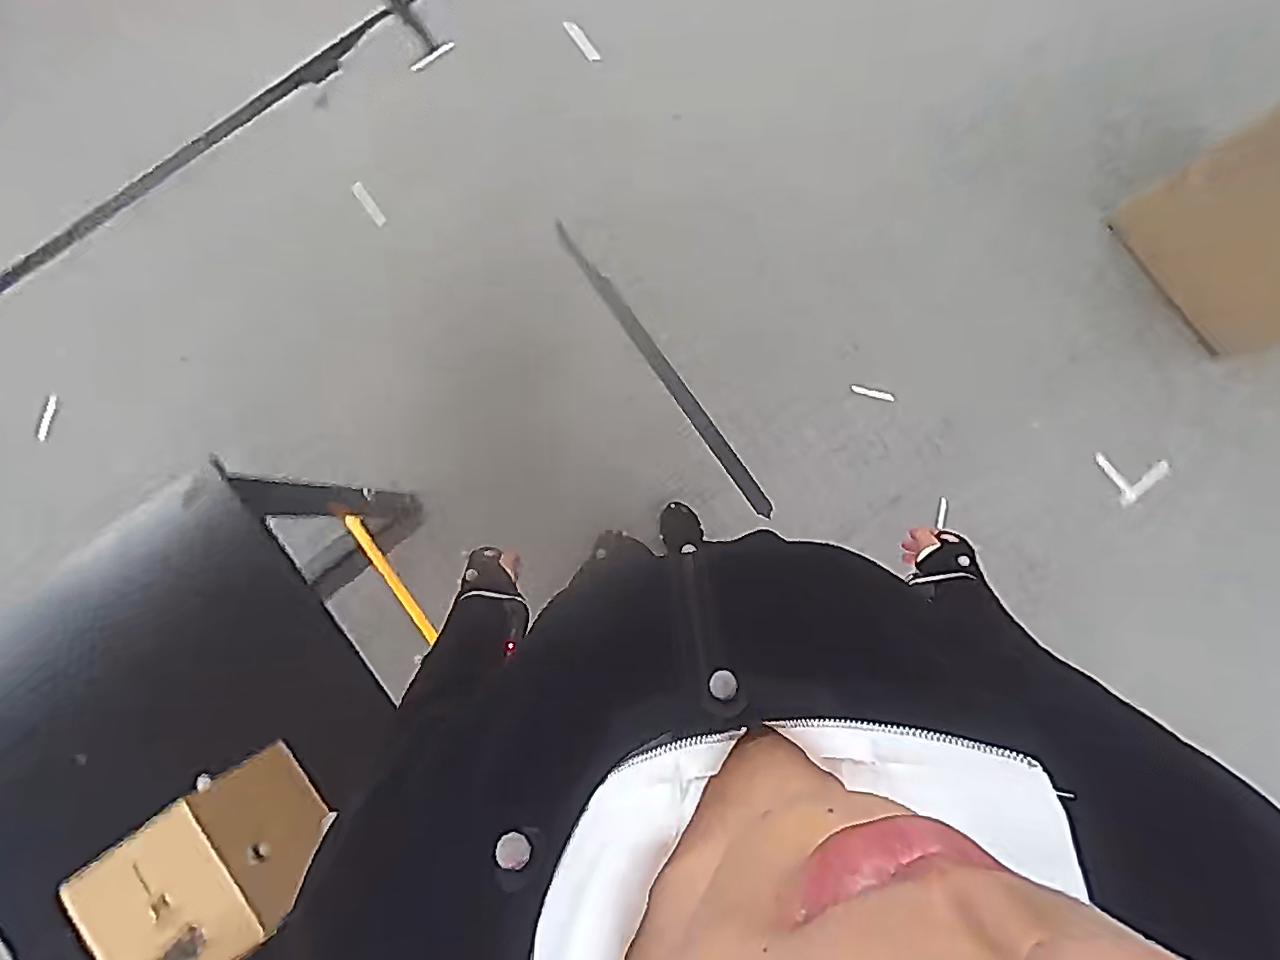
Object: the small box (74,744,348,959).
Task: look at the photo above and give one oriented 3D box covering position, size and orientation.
[{"bbox_3d":[-0.512,0.474,0.676,0.168,0.176,0.179,-37,86,-2],"label":"small box"}]
